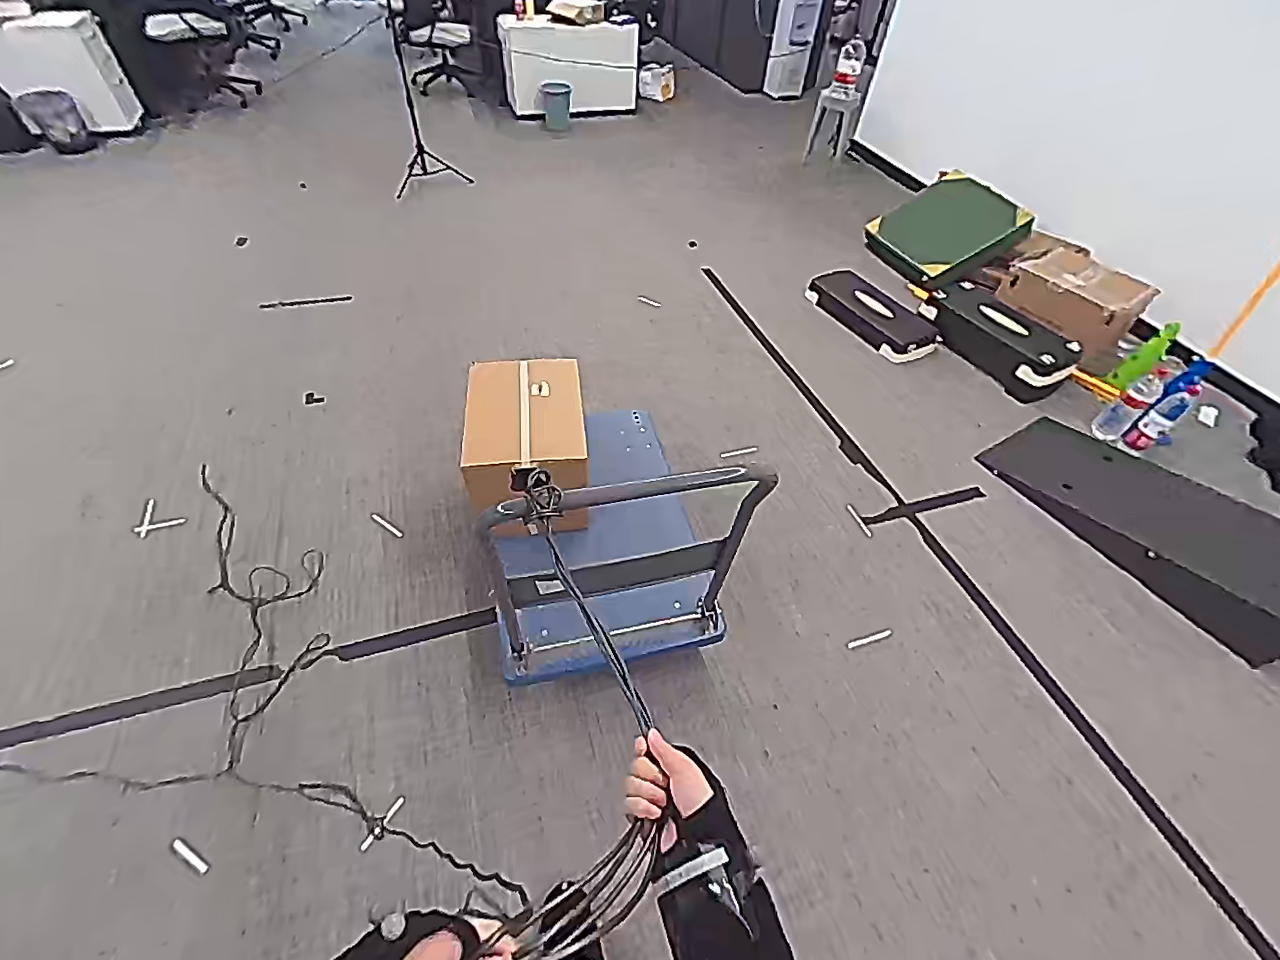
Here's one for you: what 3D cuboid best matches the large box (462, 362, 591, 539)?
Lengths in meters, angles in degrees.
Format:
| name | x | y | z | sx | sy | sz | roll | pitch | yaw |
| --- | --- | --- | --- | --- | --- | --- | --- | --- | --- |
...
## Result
| name | x | y | z | sx | sy | sz | roll | pitch | yaw |
| --- | --- | --- | --- | --- | --- | --- | --- | --- | --- |
| large box | -0.317 | -0.088 | 1.563 | 0.320 | 0.320 | 0.408 | -4 | 50 | -8 |
